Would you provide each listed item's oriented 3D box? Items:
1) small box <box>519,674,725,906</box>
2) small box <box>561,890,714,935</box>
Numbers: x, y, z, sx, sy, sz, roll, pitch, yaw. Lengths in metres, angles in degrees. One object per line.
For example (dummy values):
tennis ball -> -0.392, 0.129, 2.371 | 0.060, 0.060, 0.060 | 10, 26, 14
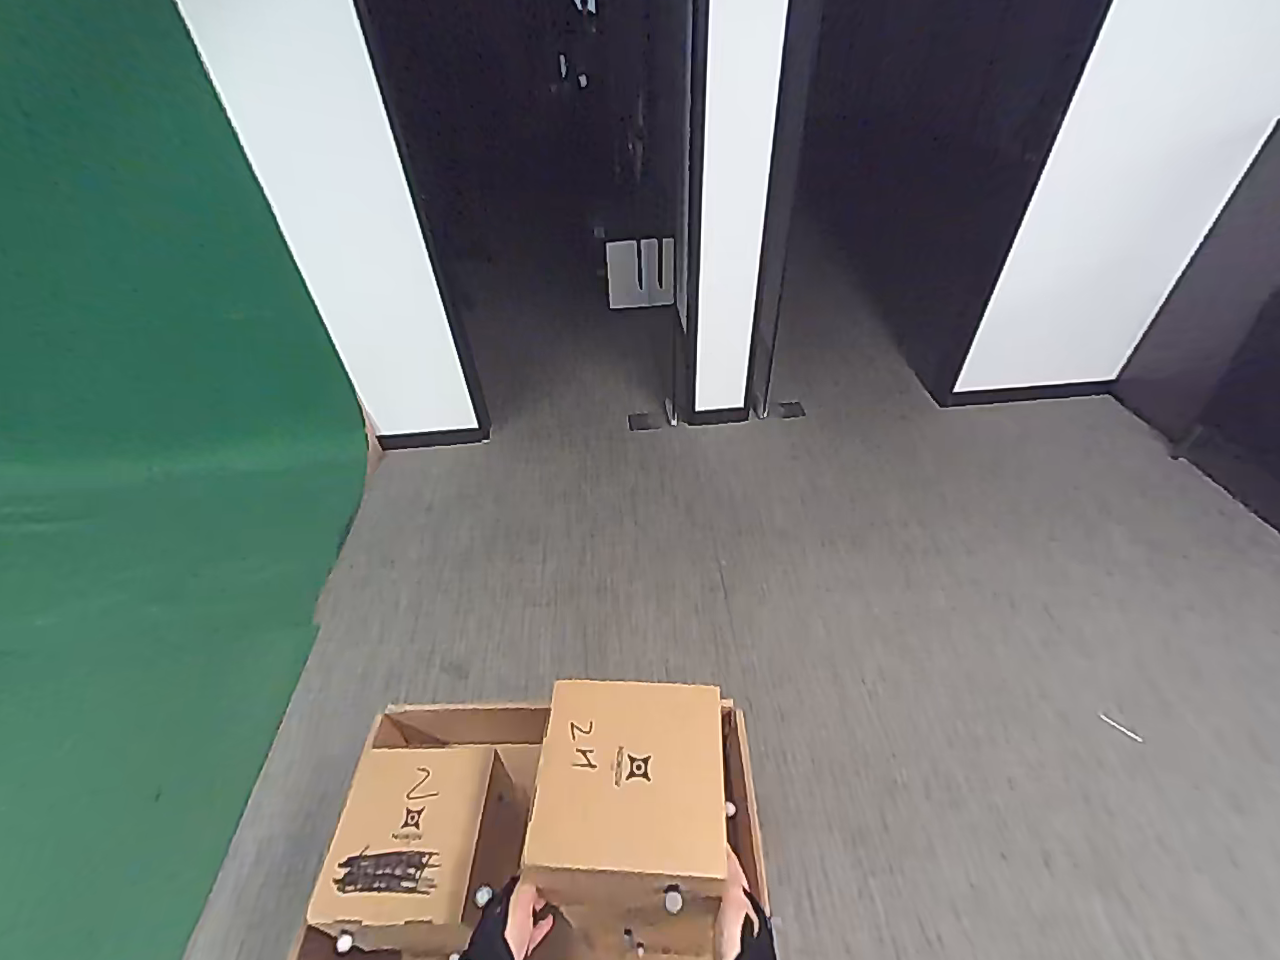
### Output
small box -> -0.006, 0.323, 0.563 | 0.179, 0.176, 0.168 | 0, 43, 6
small box -> 0.004, 0.440, 0.678 | 0.168, 0.176, 0.179 | -1, 43, 4
